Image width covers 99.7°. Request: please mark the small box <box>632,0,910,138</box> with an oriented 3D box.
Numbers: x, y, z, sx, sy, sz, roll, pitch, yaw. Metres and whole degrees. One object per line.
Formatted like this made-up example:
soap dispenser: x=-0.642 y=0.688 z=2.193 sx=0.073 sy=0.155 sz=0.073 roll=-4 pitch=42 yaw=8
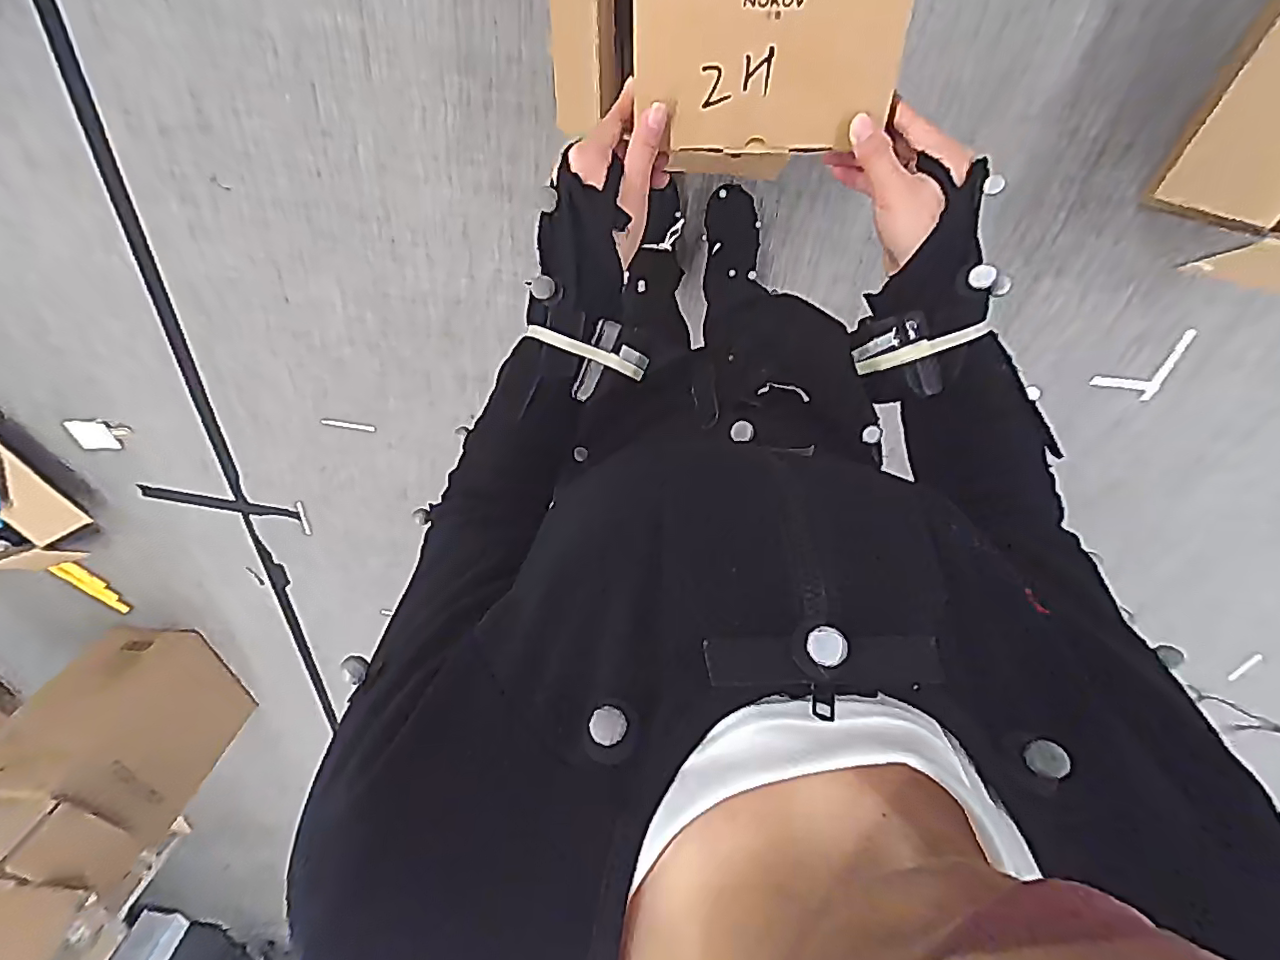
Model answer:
small box: x=0.079 y=-0.346 z=0.371 sx=0.168 sy=0.176 sz=0.179 roll=1 pitch=128 yaw=2
